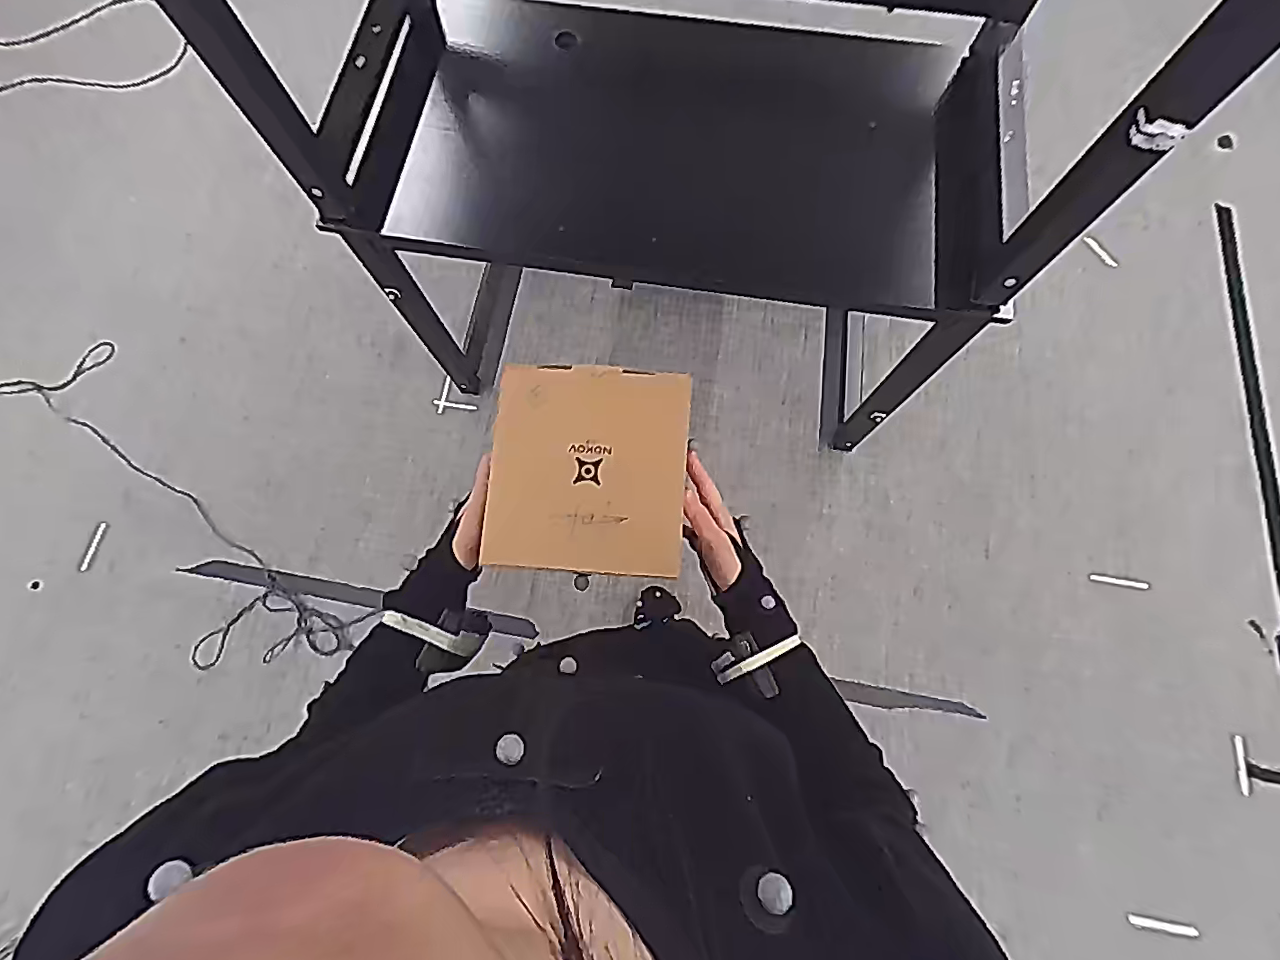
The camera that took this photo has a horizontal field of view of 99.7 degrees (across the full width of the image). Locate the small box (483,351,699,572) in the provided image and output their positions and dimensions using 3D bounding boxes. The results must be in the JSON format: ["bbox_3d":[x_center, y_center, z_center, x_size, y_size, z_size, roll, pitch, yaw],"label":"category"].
[{"bbox_3d":[-0.038,-0.006,0.526,0.168,0.176,0.179,4,80,2],"label":"small box"}]
